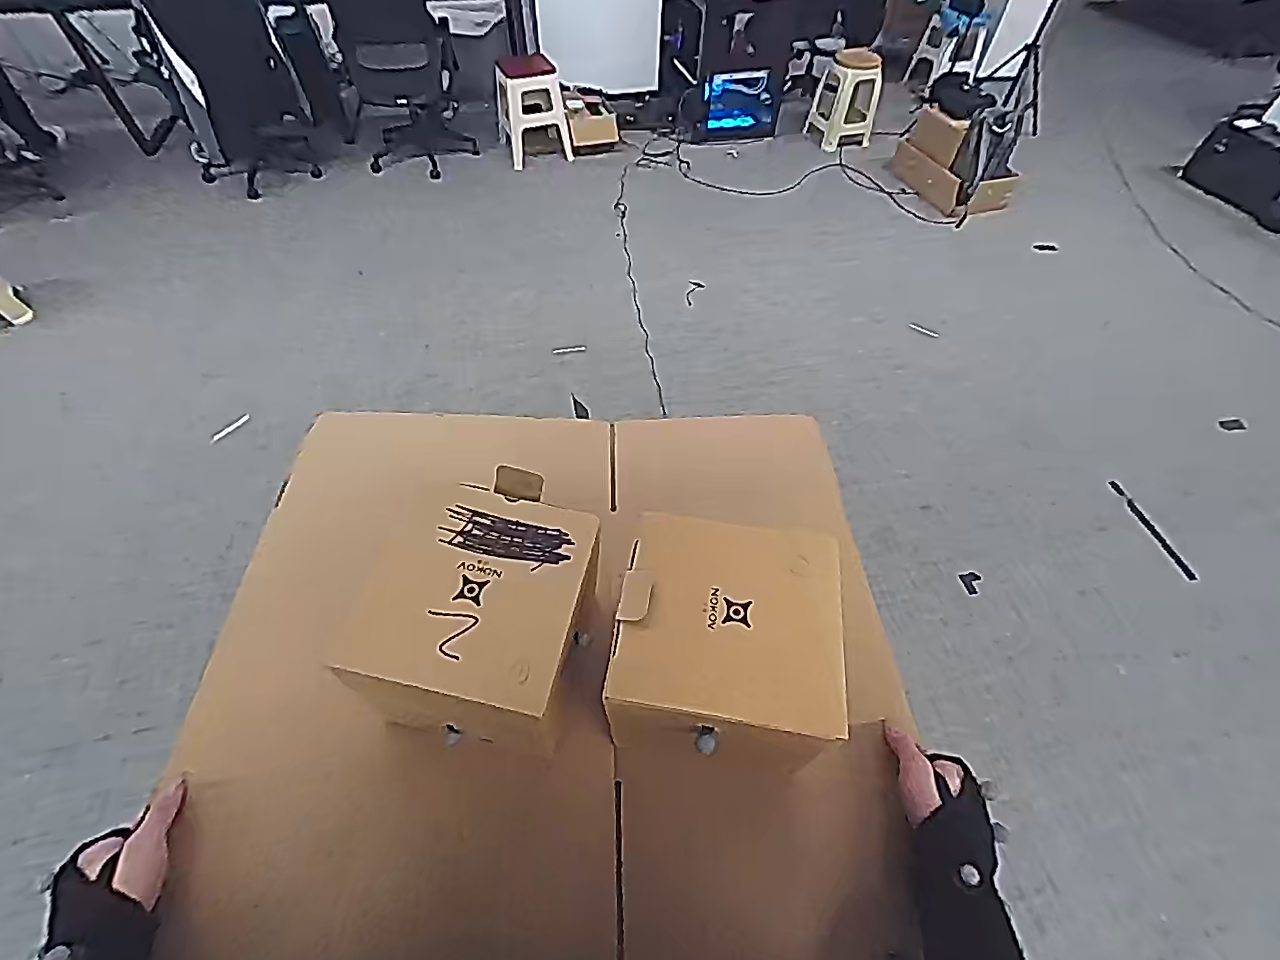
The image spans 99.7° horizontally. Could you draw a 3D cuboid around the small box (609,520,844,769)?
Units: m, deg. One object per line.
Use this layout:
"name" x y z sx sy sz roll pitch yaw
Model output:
"small box" 0.078 0.160 0.508 0.179 0.176 0.168 6 54 7
